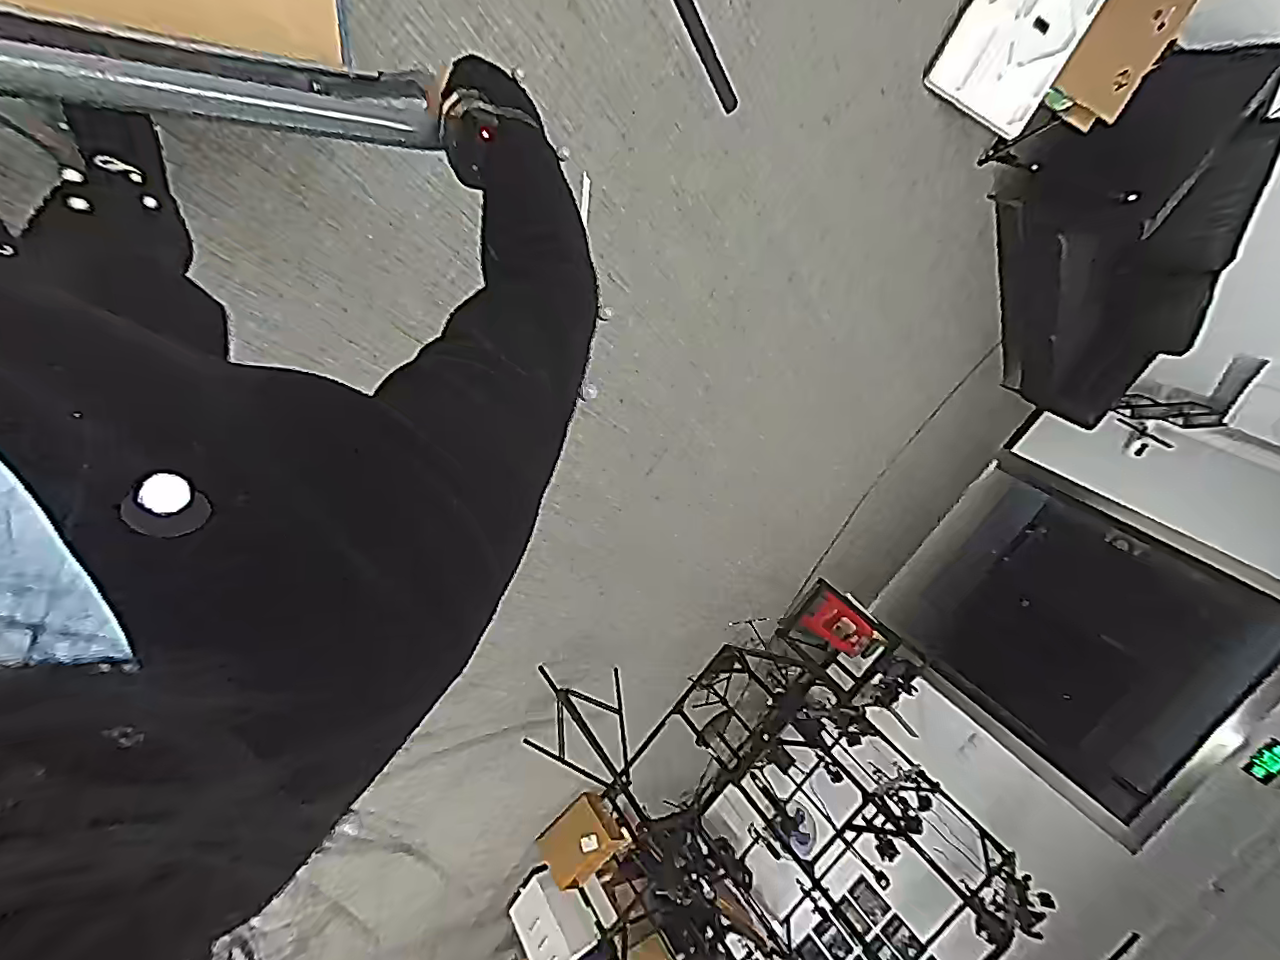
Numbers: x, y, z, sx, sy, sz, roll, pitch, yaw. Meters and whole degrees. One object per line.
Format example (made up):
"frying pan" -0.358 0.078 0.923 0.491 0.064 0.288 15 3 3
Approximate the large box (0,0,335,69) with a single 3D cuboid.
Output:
"large box" -0.621 -0.691 0.603 0.408 0.320 0.320 -16 131 -36
